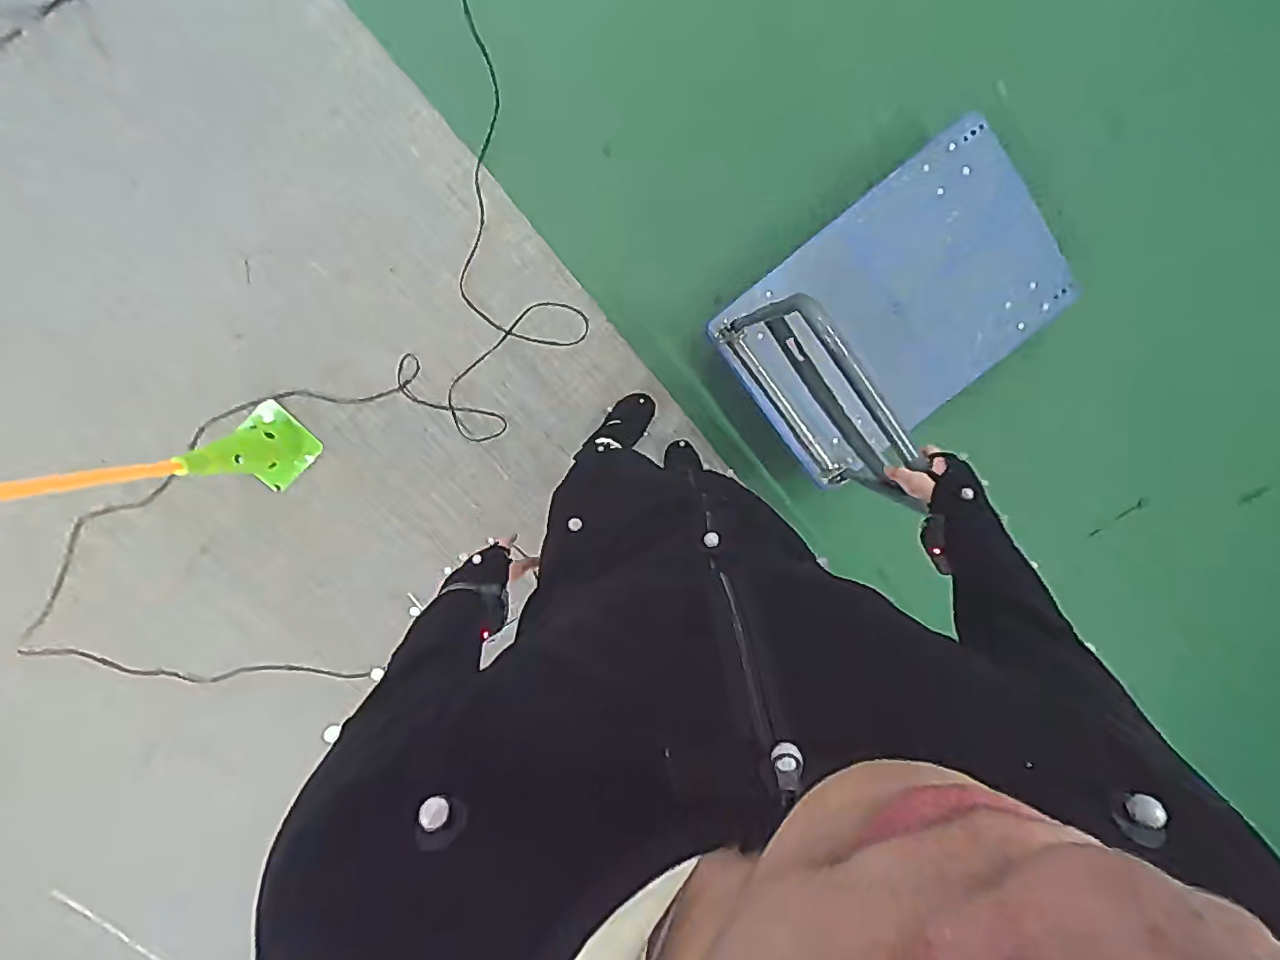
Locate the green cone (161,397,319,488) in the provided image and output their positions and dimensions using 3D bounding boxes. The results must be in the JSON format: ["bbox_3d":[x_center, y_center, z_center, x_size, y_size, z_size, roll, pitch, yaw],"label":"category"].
[{"bbox_3d":[-1.027,-0.076,1.353,0.200,0.368,0.202,-44,99,4],"label":"green cone"}]
